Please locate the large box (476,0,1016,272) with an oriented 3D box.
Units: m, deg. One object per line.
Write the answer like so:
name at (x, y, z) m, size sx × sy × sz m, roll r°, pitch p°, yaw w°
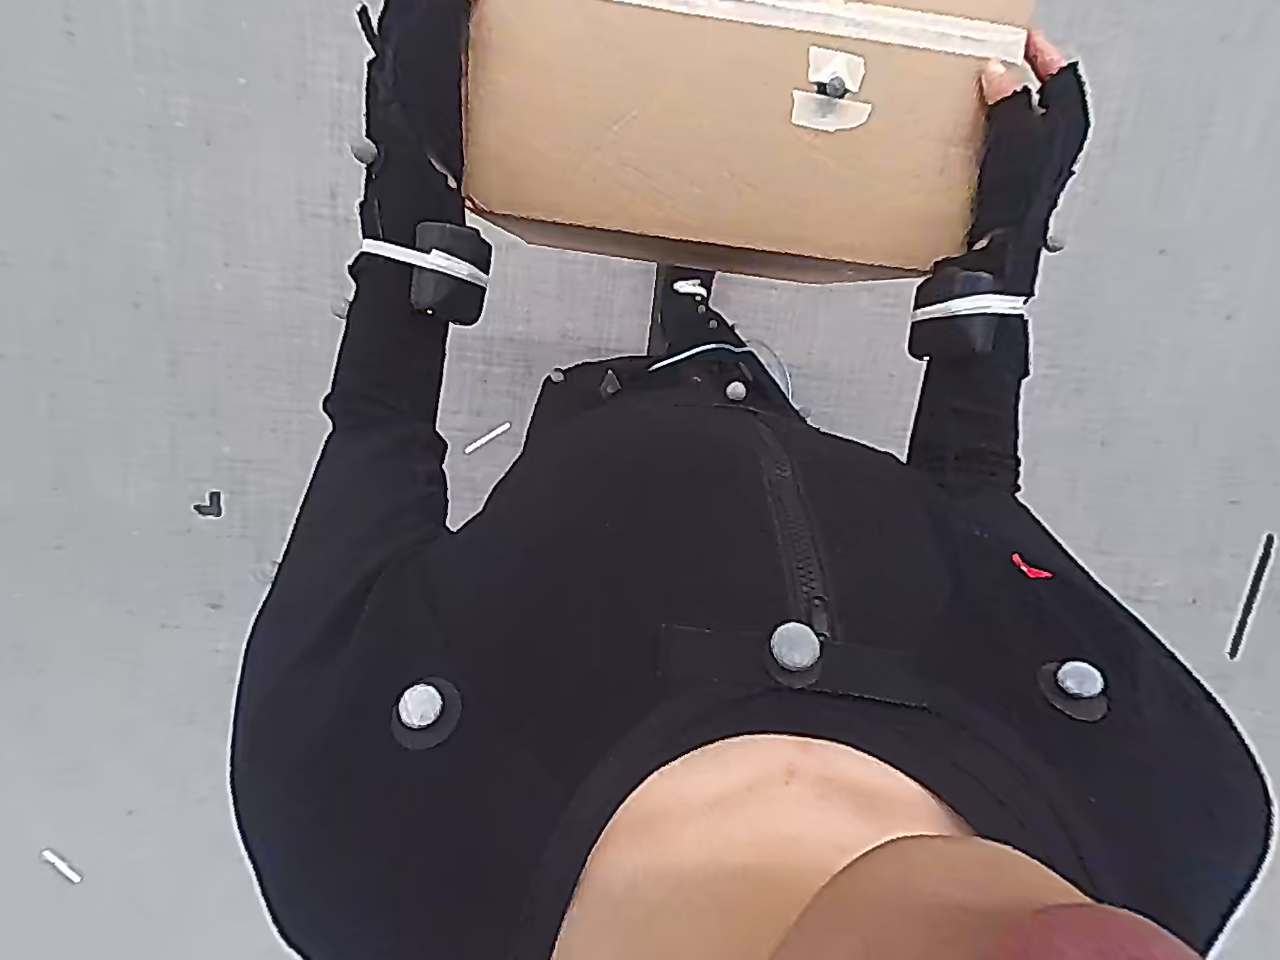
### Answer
large box at (0.072, -0.398, 0.540) m, size 0.408 × 0.320 × 0.320 m, roll 6°, pitch 109°, yaw -5°
